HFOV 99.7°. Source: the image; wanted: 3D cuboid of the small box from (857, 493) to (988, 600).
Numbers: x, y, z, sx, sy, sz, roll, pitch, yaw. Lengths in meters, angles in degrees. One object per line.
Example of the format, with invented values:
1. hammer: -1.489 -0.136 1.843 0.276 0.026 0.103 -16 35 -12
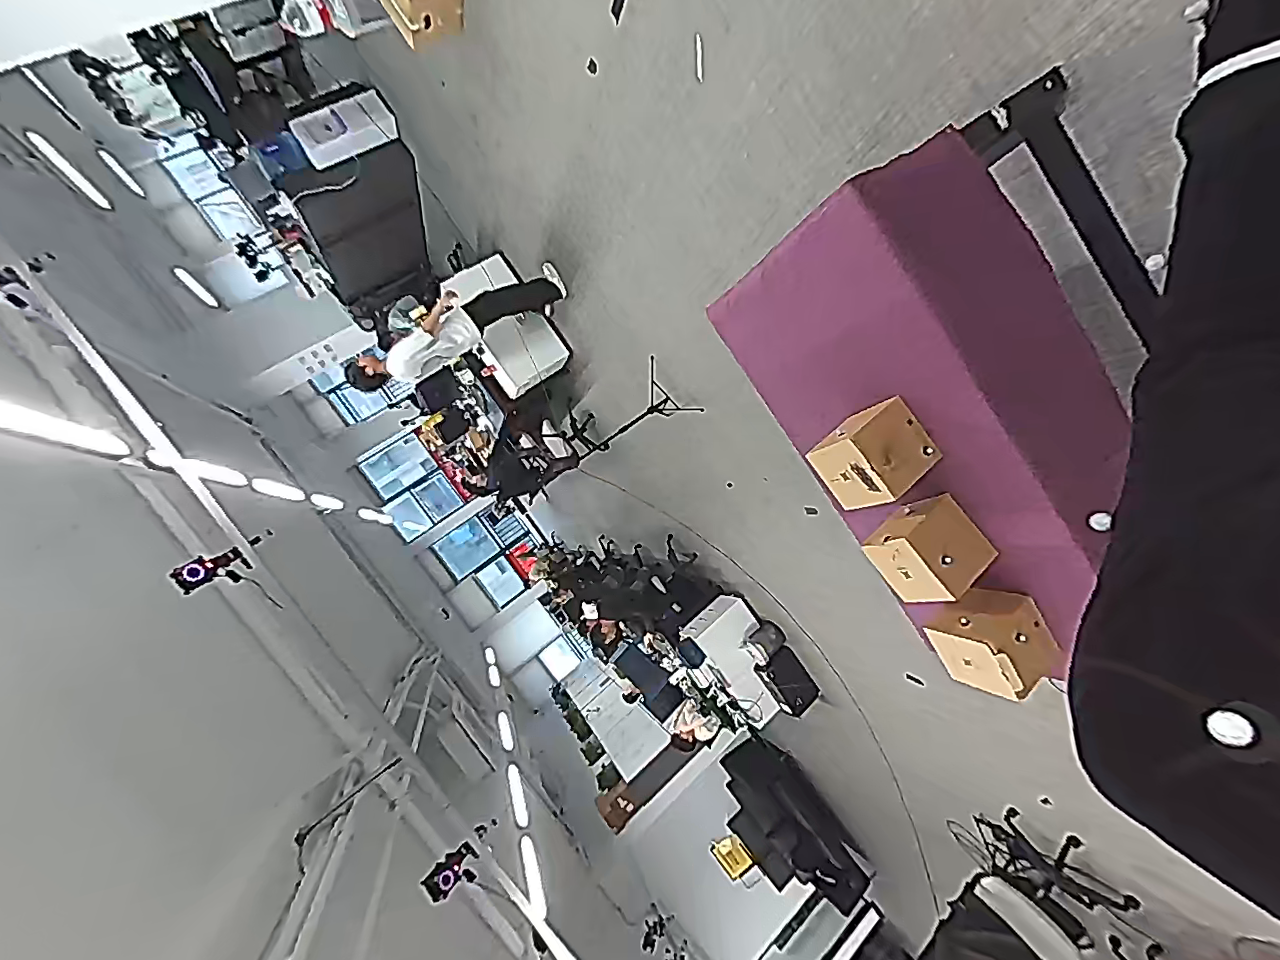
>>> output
1. small box: 0.656 0.157 1.256 0.179 0.176 0.168 52 161 3

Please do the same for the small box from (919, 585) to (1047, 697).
1. small box: 0.810 0.367 1.269 0.168 0.176 0.179 57 162 -10

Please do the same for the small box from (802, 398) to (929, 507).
1. small box: 0.510 -0.061 1.215 0.168 0.176 0.179 53 163 -1
